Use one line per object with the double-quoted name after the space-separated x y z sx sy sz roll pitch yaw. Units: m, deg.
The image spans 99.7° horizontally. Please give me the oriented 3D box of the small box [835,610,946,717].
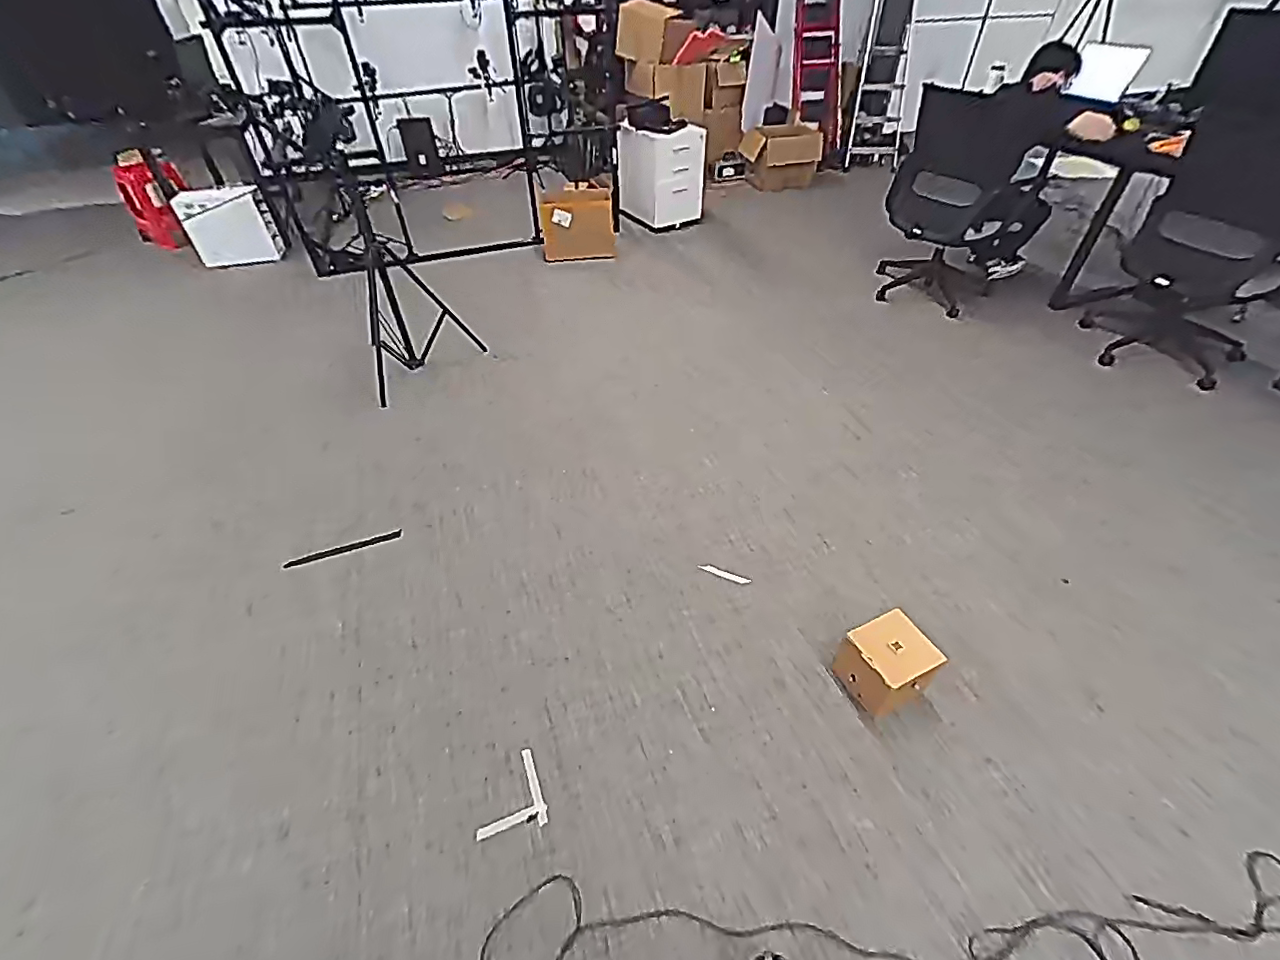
0.629 0.470 1.383 0.179 0.176 0.168 -19 46 -17 "small box"
